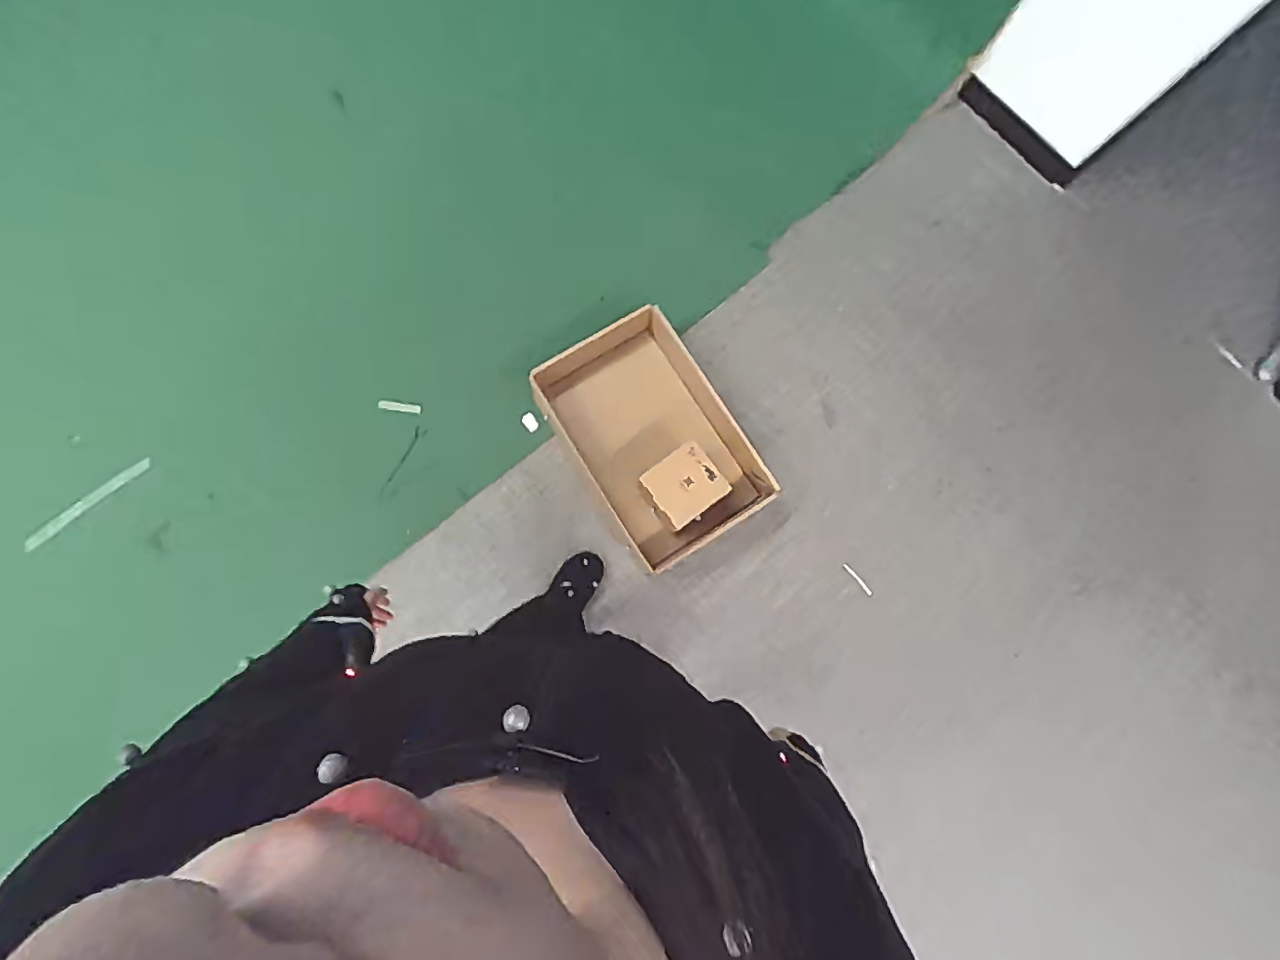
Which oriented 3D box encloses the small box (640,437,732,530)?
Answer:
[{"bbox_3d":[0.115,0.018,1.417,0.179,0.176,0.168,-35,84,-7],"label":"small box"}]
